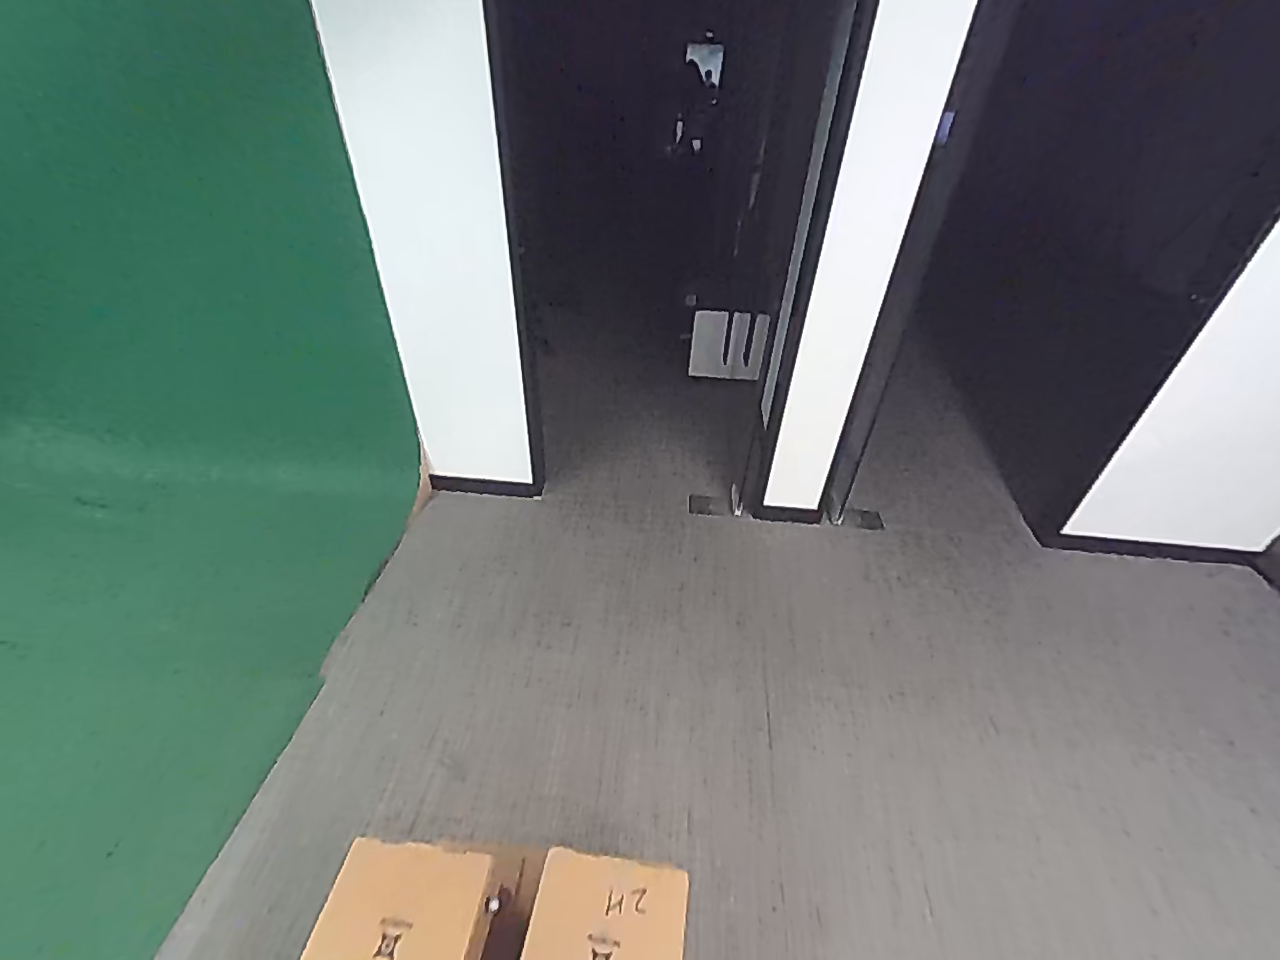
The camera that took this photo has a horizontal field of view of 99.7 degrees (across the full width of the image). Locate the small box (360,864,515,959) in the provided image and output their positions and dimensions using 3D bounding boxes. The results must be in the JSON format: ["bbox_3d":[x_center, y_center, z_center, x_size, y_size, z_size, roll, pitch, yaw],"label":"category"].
[{"bbox_3d":[-0.274,0.664,0.738,0.168,0.176,0.179,7,40,3],"label":"small box"}]

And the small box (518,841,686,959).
[{"bbox_3d":[-0.044,0.556,0.618,0.168,0.176,0.179,8,39,8],"label":"small box"}]
